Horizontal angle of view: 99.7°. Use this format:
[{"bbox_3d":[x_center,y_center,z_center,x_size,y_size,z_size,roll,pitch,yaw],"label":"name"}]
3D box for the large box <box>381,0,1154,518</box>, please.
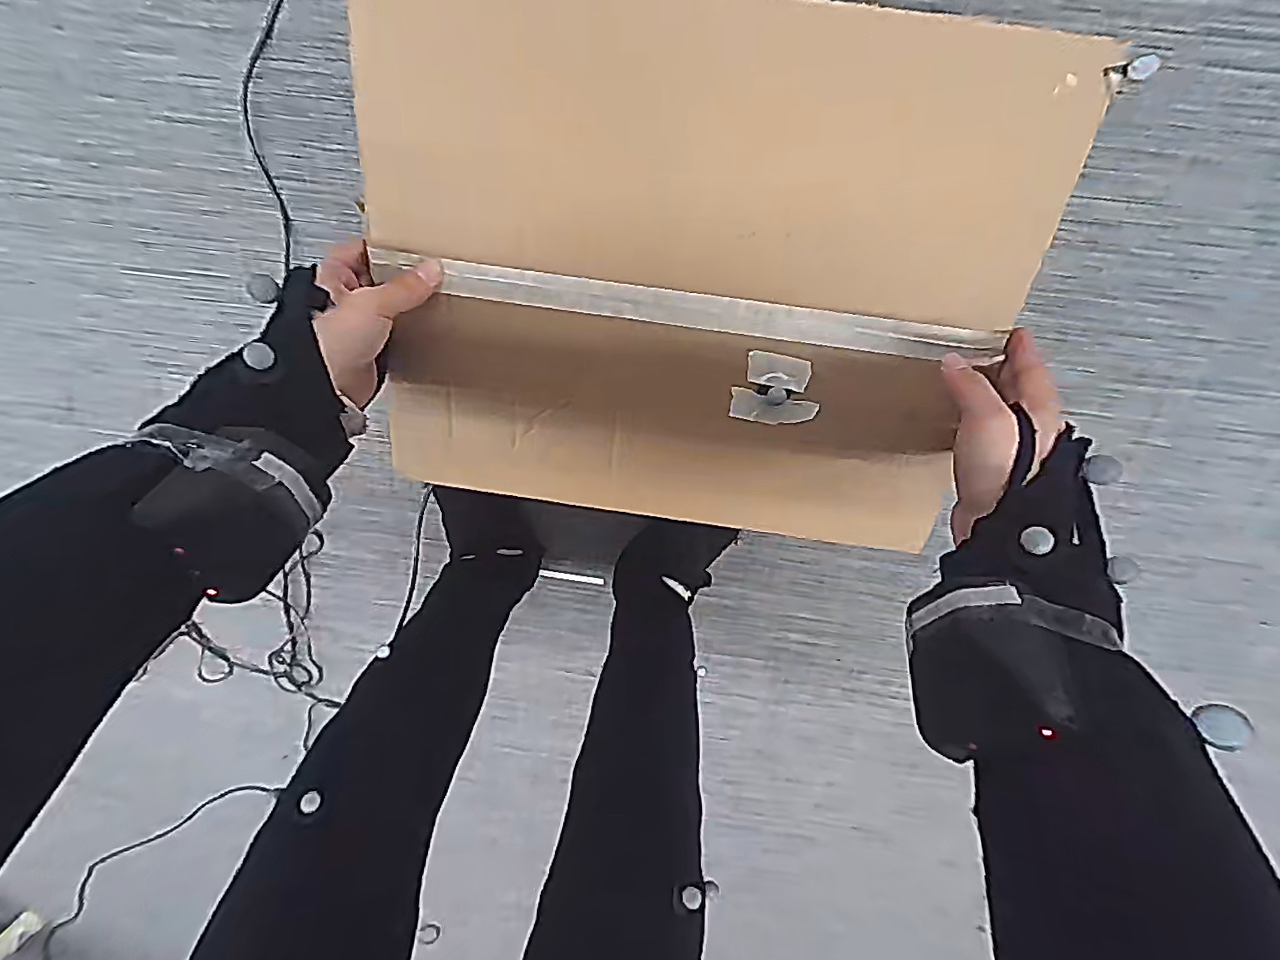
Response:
[{"bbox_3d":[0.054,-0.195,0.470,0.408,0.320,0.320,8,117,0],"label":"large box"}]
